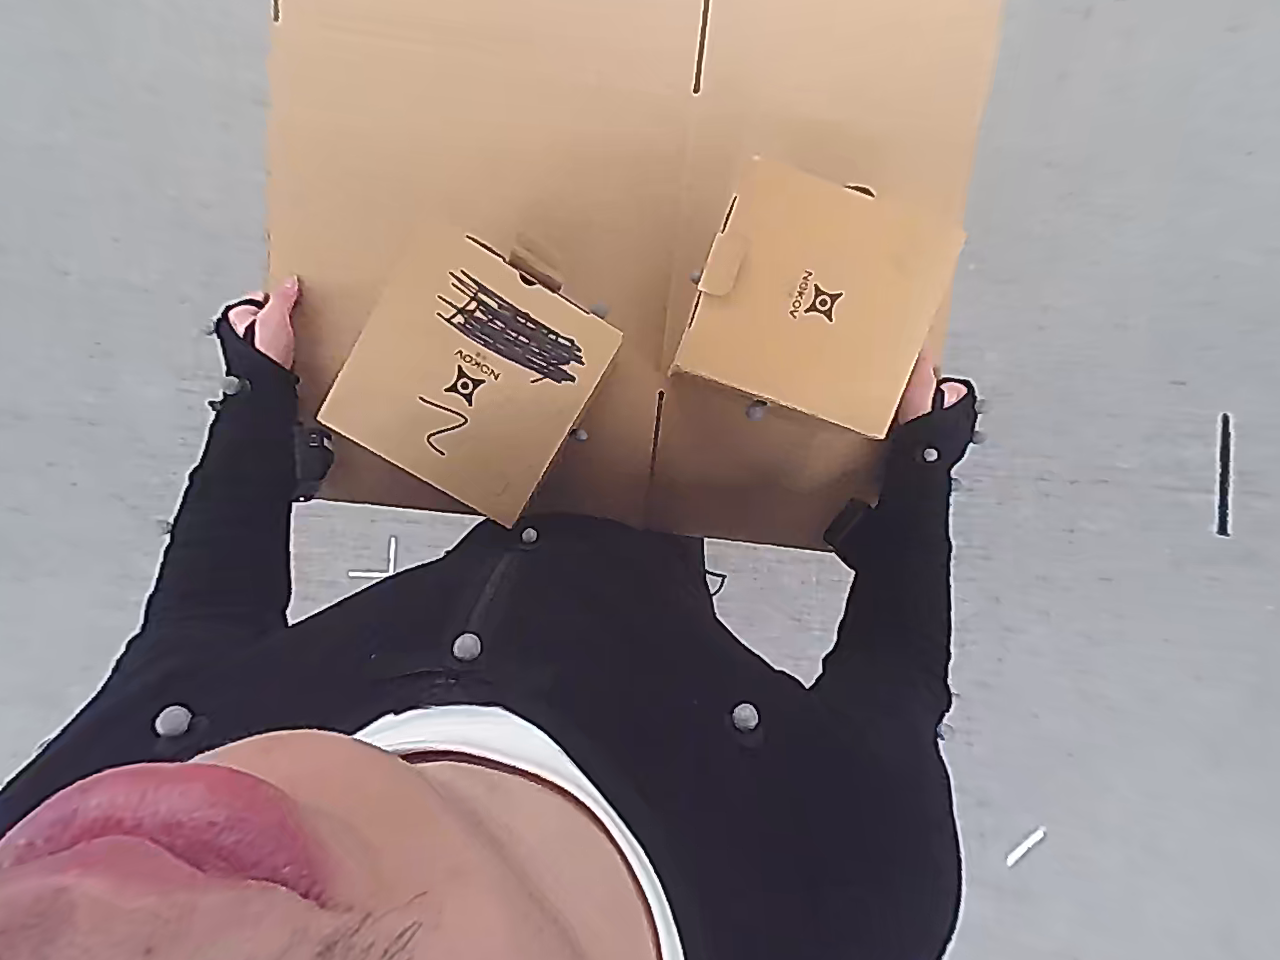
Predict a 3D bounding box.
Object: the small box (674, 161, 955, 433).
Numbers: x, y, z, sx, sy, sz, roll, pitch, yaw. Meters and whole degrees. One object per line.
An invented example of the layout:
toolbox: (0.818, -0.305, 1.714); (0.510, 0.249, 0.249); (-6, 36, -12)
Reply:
small box: (0.140, -0.153, 0.505); (0.179, 0.176, 0.168); (20, 97, 1)
